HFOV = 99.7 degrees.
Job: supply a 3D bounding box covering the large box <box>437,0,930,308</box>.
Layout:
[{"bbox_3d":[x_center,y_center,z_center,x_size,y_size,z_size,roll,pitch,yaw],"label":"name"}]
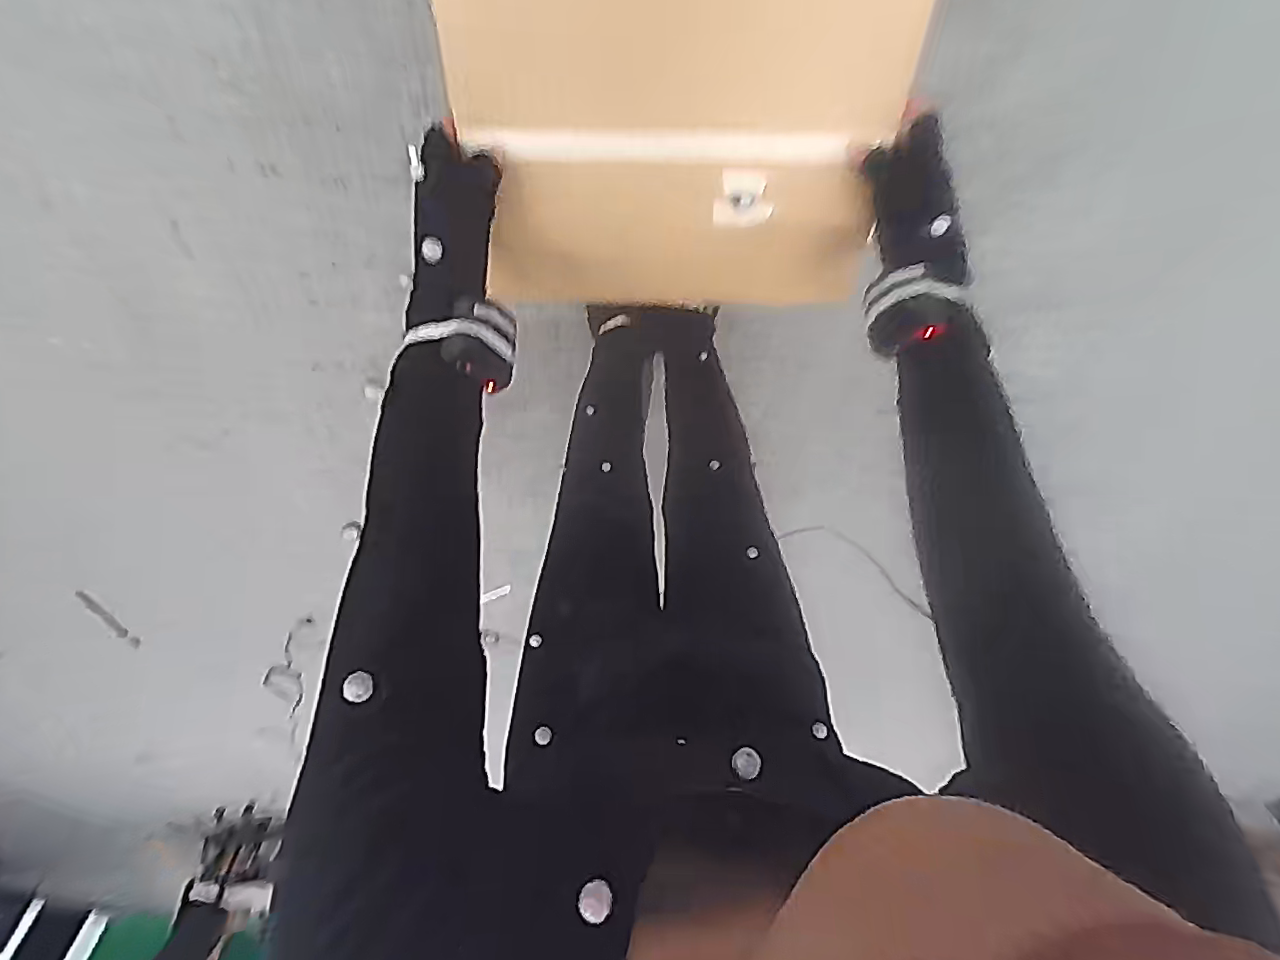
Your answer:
[{"bbox_3d":[0.033,-0.409,0.611,0.408,0.320,0.320,-1,133,-1],"label":"large box"}]
